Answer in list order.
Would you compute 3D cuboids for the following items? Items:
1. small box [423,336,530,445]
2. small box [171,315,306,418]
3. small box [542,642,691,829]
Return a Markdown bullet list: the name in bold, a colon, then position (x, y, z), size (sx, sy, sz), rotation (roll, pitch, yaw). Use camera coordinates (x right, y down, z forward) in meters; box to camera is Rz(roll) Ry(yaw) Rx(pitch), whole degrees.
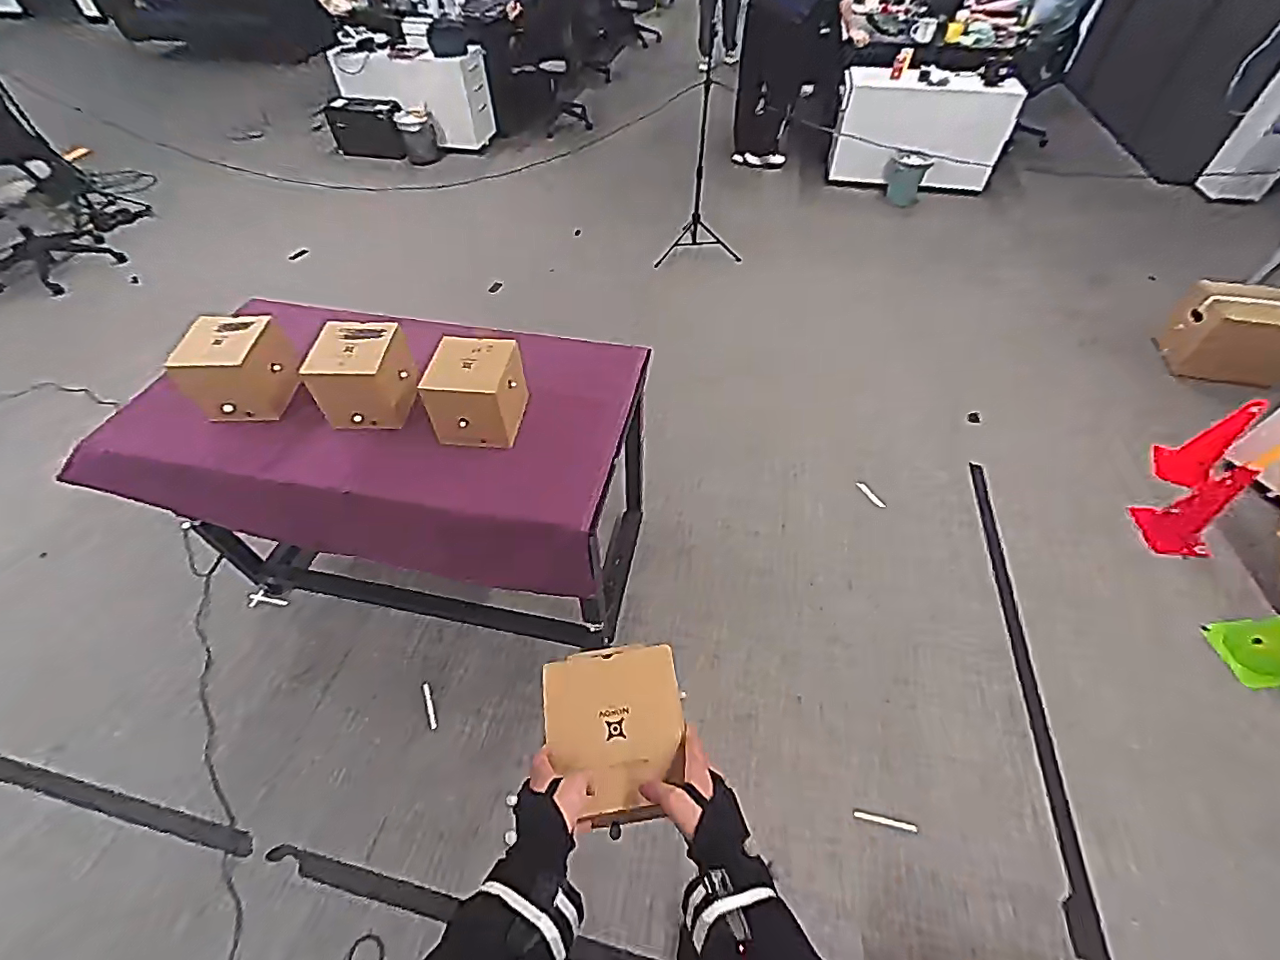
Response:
- **small box**: position (-0.352, -0.197, 1.205), size (0.168, 0.176, 0.179), rotation (5, 50, 4)
- **small box**: position (-0.919, -0.264, 1.262), size (0.168, 0.176, 0.179), rotation (-1, 51, 0)
- **small box**: position (-0.033, 0.334, 0.705), size (0.168, 0.176, 0.179), rotation (-7, 53, -4)
